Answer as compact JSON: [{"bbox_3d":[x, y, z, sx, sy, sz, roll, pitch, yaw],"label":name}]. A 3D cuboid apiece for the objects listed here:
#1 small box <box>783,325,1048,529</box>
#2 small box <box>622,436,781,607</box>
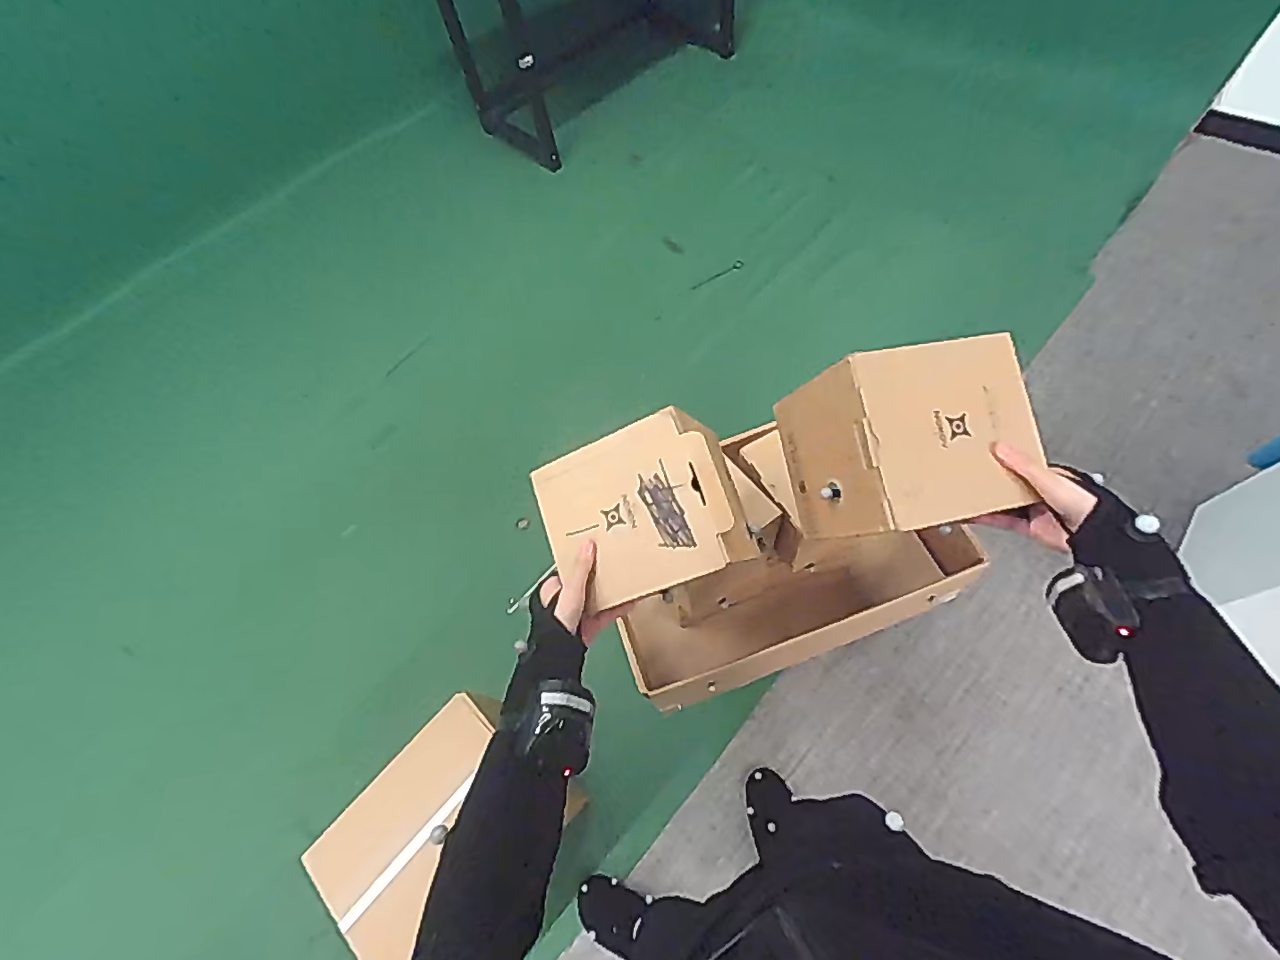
[{"bbox_3d":[0.269,-0.045,0.576,0.179,0.176,0.168,-9,83,-11],"label":"small box"},{"bbox_3d":[0.095,0.071,0.854,0.179,0.176,0.168,-35,62,-11],"label":"small box"}]
